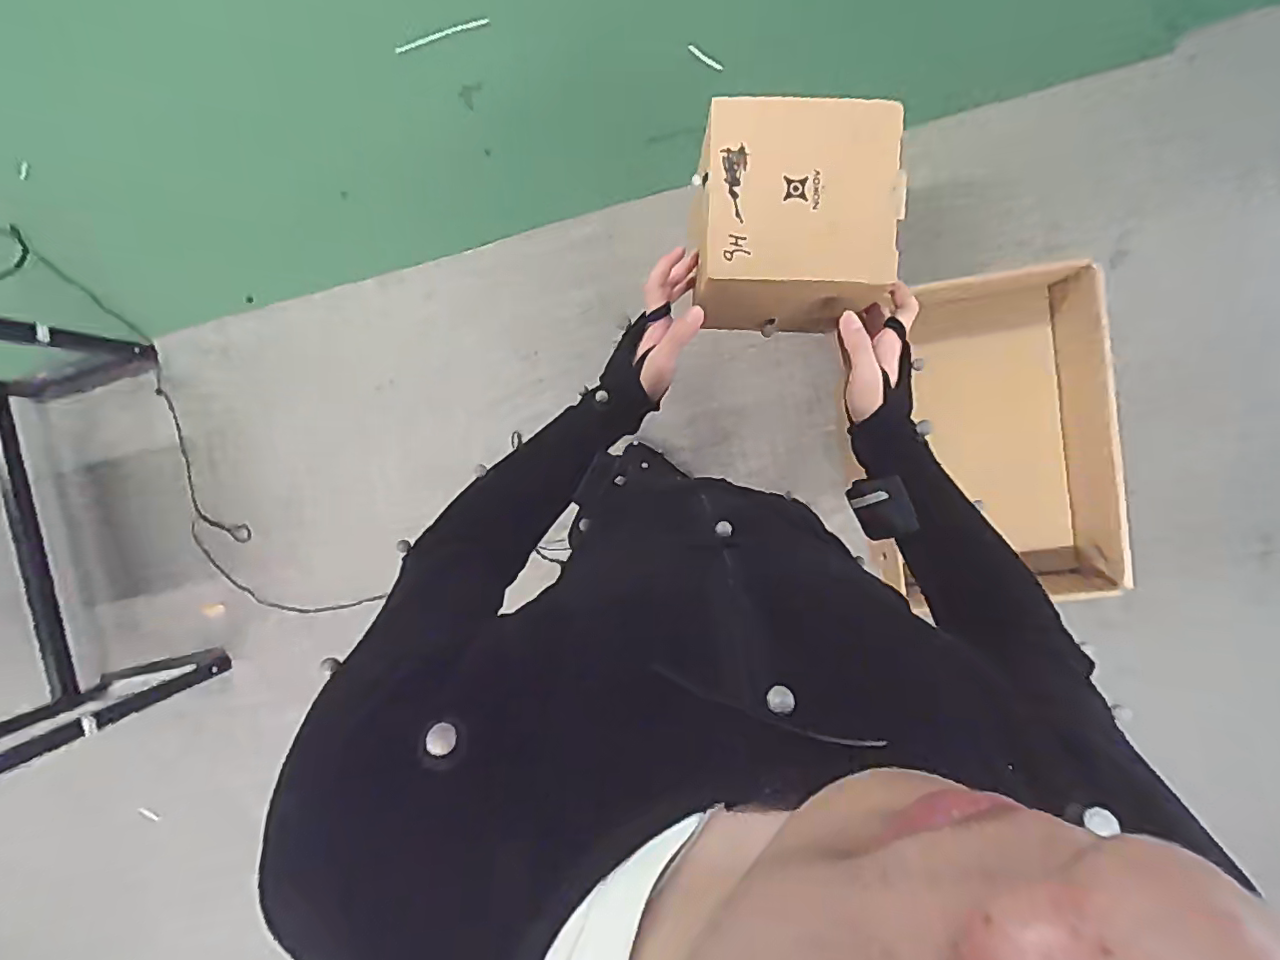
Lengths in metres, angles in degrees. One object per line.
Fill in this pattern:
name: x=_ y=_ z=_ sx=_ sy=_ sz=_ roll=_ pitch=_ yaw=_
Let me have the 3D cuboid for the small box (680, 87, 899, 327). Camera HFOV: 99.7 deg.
small box: x=0.140 y=-0.264 z=0.563 sx=0.179 sy=0.176 sz=0.168 roll=2 pitch=90 yaw=-1
